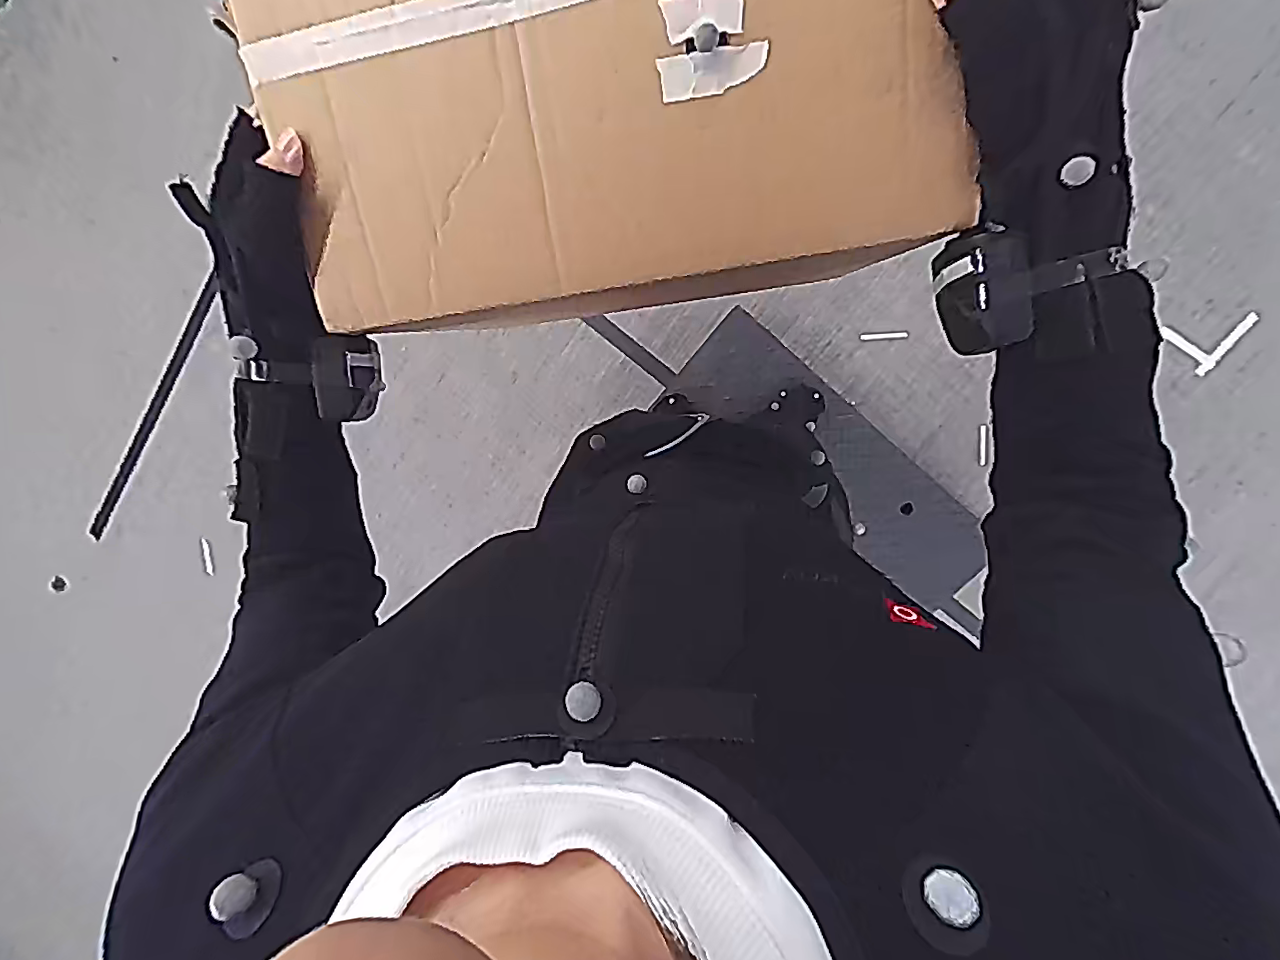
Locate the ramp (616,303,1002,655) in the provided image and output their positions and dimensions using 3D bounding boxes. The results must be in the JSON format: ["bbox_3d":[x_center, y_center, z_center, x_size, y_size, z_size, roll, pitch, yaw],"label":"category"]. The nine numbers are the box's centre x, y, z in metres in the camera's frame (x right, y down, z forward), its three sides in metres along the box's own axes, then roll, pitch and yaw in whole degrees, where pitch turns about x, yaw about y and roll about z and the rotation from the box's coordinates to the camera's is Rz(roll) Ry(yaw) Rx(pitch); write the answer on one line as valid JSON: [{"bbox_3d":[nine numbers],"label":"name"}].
[{"bbox_3d":[0.468,0.038,1.463,0.991,0.206,0.509,39,103,1],"label":"ramp"}]

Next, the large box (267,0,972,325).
[{"bbox_3d":[-0.010,-0.317,0.447,0.408,0.320,0.320,-6,106,9],"label":"large box"}]
